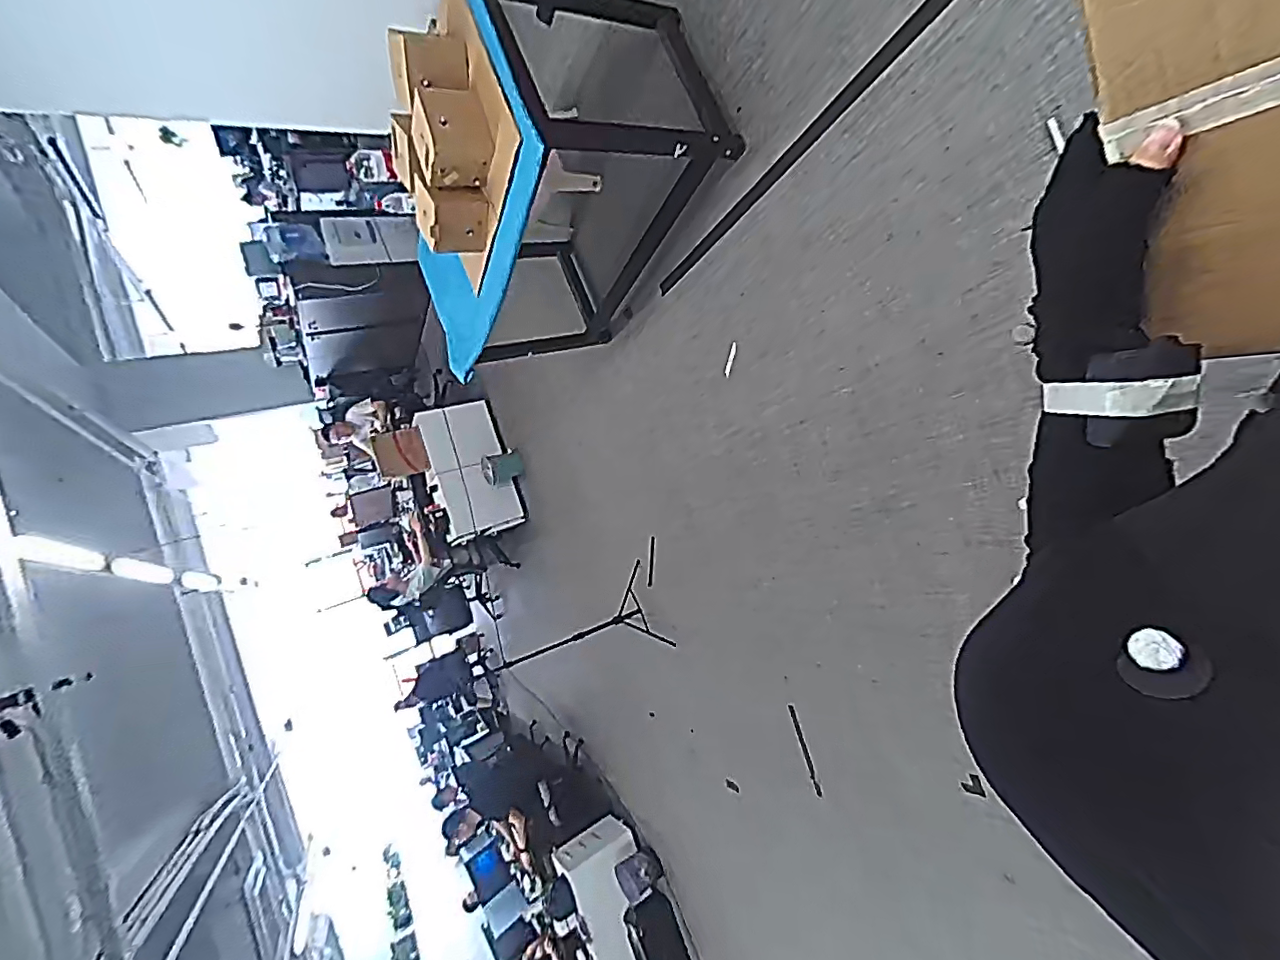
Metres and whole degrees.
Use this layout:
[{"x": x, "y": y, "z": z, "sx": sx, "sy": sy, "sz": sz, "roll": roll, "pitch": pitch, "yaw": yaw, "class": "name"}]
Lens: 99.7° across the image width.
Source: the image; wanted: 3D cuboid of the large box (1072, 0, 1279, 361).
[{"x": 0.485, "y": -0.291, "z": 0.217, "sx": 0.408, "sy": 0.320, "sz": 0.320, "roll": 5, "pitch": 135, "yaw": 57, "class": "large box"}]
